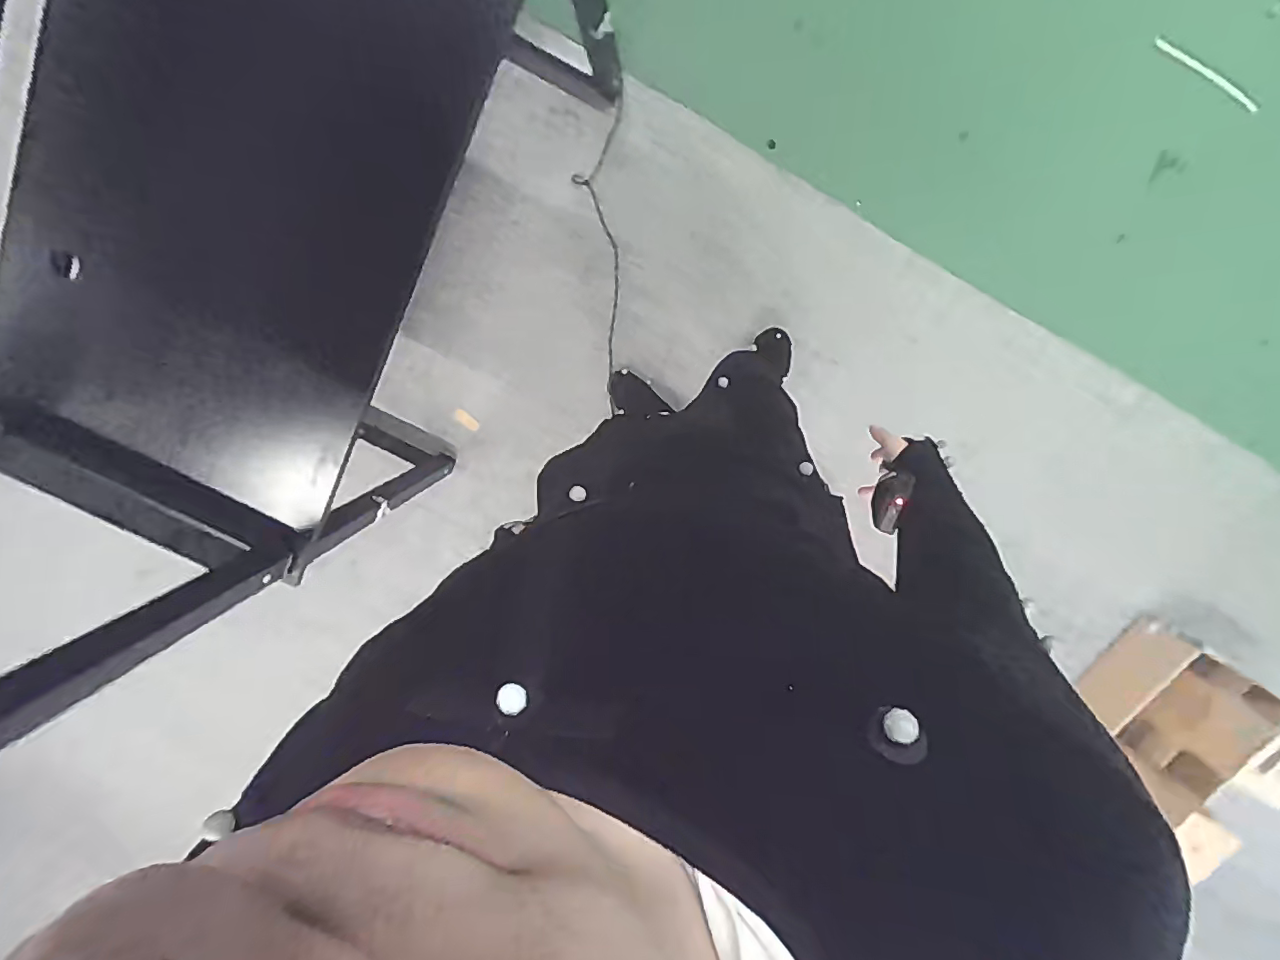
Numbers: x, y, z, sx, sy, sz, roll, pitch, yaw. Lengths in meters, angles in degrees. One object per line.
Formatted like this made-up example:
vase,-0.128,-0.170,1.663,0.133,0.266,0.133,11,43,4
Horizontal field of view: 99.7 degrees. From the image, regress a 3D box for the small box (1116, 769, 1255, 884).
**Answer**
small box,1.482,0.943,1.486,0.168,0.176,0.179,28,104,-3
